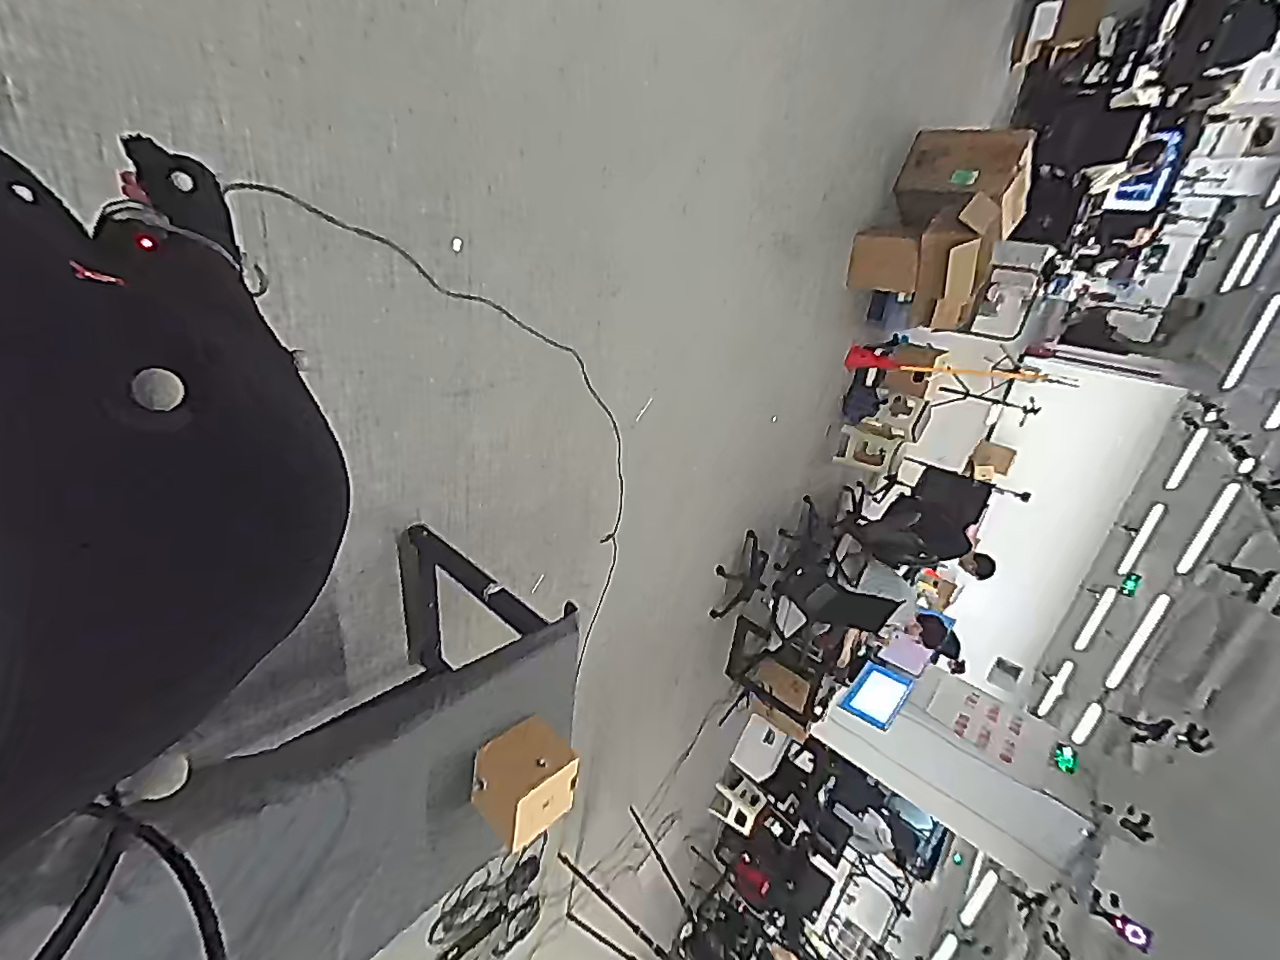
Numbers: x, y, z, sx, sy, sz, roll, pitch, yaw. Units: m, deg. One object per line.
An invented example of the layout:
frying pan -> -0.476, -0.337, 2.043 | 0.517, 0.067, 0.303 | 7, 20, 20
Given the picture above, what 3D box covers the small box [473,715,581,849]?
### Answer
small box -> -0.264, 0.687, 1.256 | 0.179, 0.176, 0.168 | -15, 121, -46
